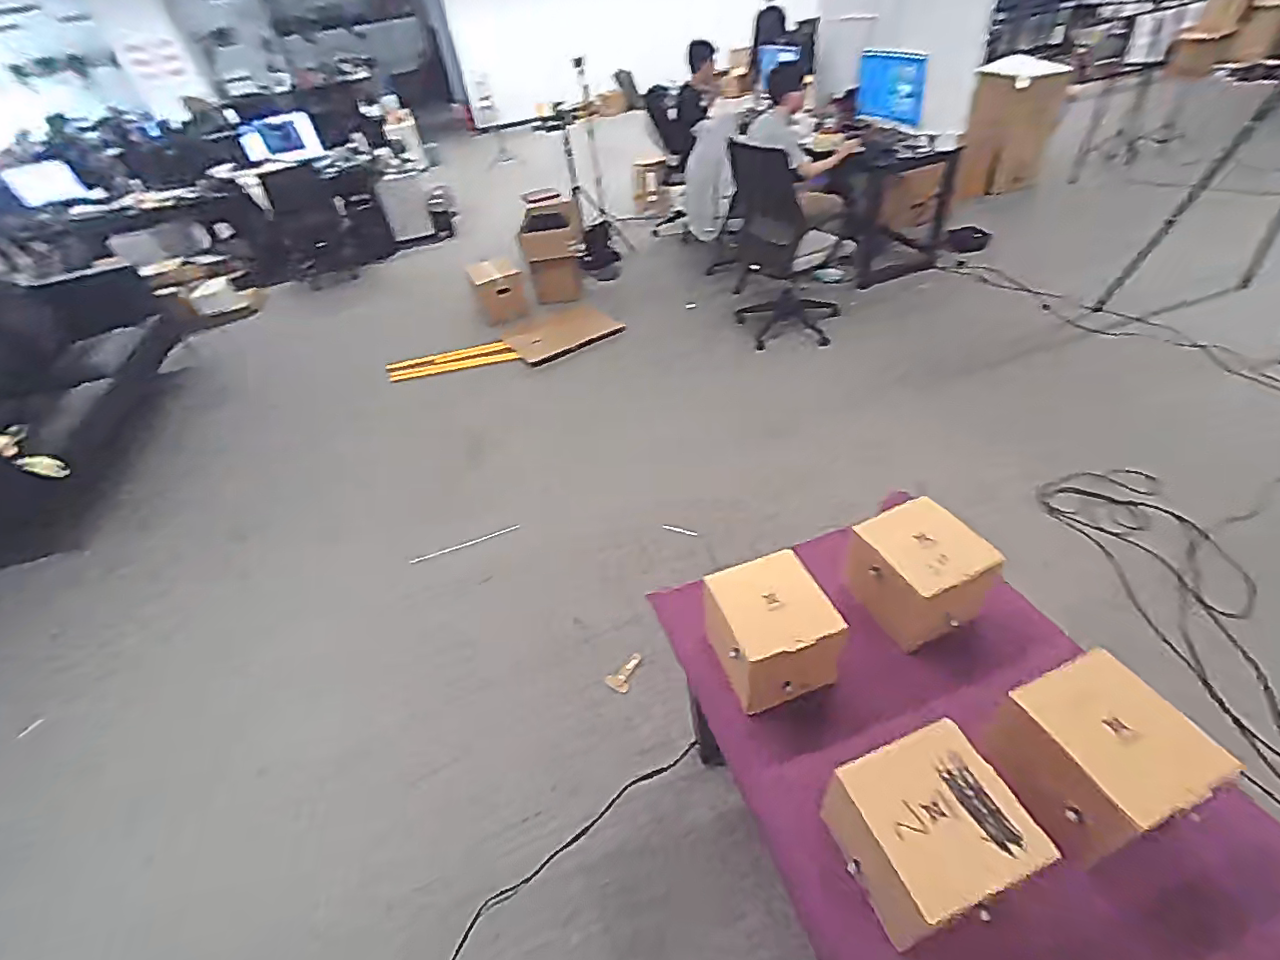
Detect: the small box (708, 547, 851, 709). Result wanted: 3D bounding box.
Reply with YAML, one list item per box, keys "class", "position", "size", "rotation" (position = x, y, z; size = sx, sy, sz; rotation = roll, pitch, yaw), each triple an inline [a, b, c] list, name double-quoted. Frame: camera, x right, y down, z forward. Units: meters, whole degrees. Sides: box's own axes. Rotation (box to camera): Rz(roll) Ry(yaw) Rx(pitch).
- class: "small box"
  position: [0.221, 0.248, 0.909]
  size: [0.168, 0.176, 0.179]
  rotation: [-17, 43, -10]

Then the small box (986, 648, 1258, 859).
- class: "small box"
  position: [0.606, 0.362, 0.710]
  size: [0.168, 0.176, 0.179]
  rotation: [-19, 42, -10]

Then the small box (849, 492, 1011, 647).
- class: "small box"
  position: [0.494, 0.158, 0.954]
  size: [0.168, 0.176, 0.179]
  rotation: [-21, 43, -11]
